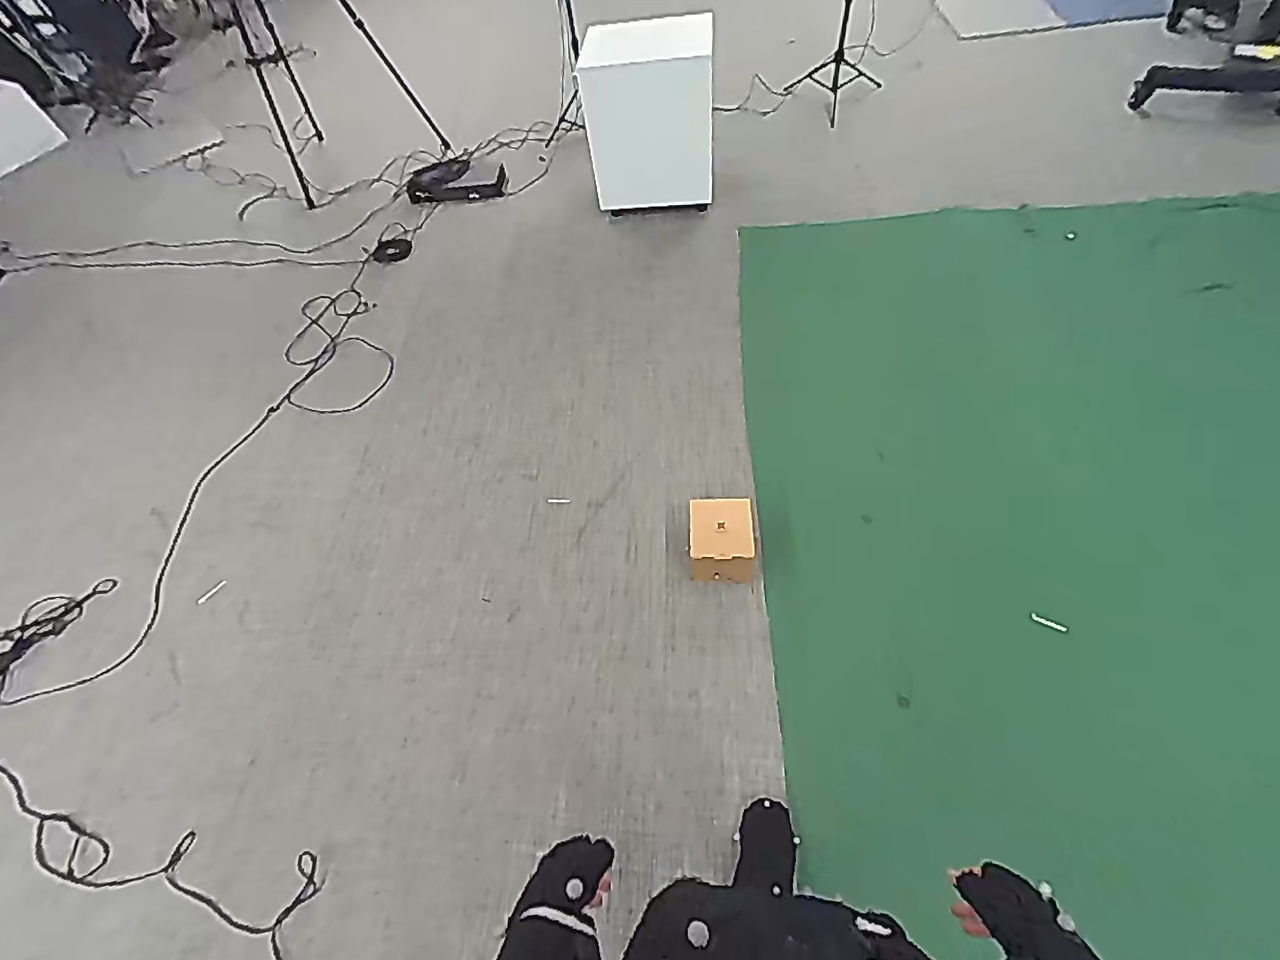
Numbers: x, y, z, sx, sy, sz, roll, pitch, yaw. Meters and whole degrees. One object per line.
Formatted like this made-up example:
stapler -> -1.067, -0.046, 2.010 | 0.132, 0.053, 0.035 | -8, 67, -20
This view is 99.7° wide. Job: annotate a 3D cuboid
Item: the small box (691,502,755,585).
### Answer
small box -> 0.223, 0.176, 1.492 | 0.168, 0.176, 0.179 | -2, 57, 6
